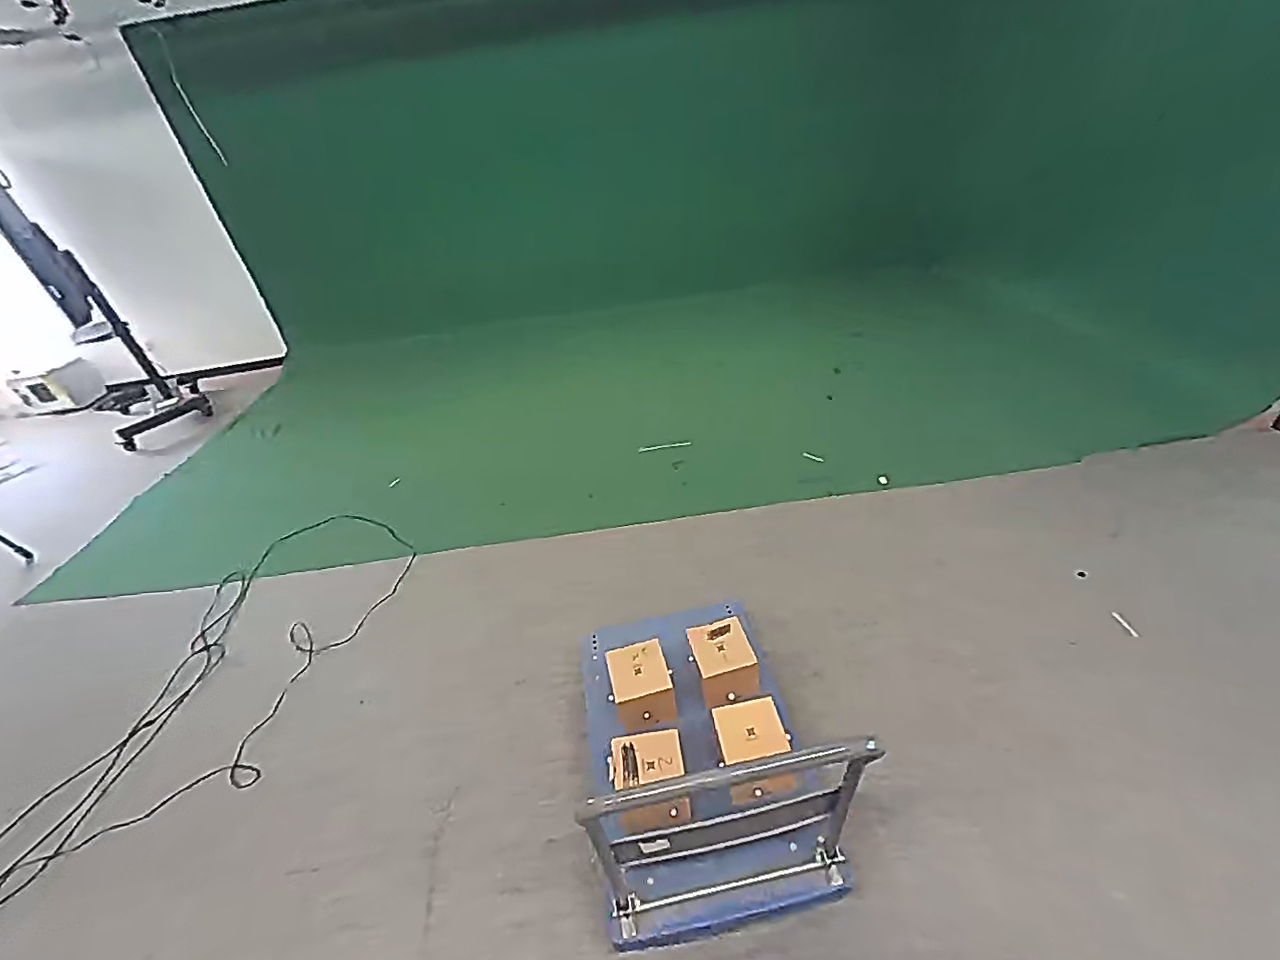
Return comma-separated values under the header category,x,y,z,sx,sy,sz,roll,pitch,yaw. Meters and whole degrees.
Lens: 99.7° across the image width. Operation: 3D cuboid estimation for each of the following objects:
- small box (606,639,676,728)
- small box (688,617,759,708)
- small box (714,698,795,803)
category,x,y,z,sx,sy,sz,roll,pitch,yaw
small box,0.005,0.607,1.597,0.168,0.176,0.179,-13,36,-6
small box,0.248,0.547,1.624,0.168,0.176,0.179,-14,38,-5
small box,0.291,0.703,1.407,0.168,0.176,0.179,-10,37,-2
